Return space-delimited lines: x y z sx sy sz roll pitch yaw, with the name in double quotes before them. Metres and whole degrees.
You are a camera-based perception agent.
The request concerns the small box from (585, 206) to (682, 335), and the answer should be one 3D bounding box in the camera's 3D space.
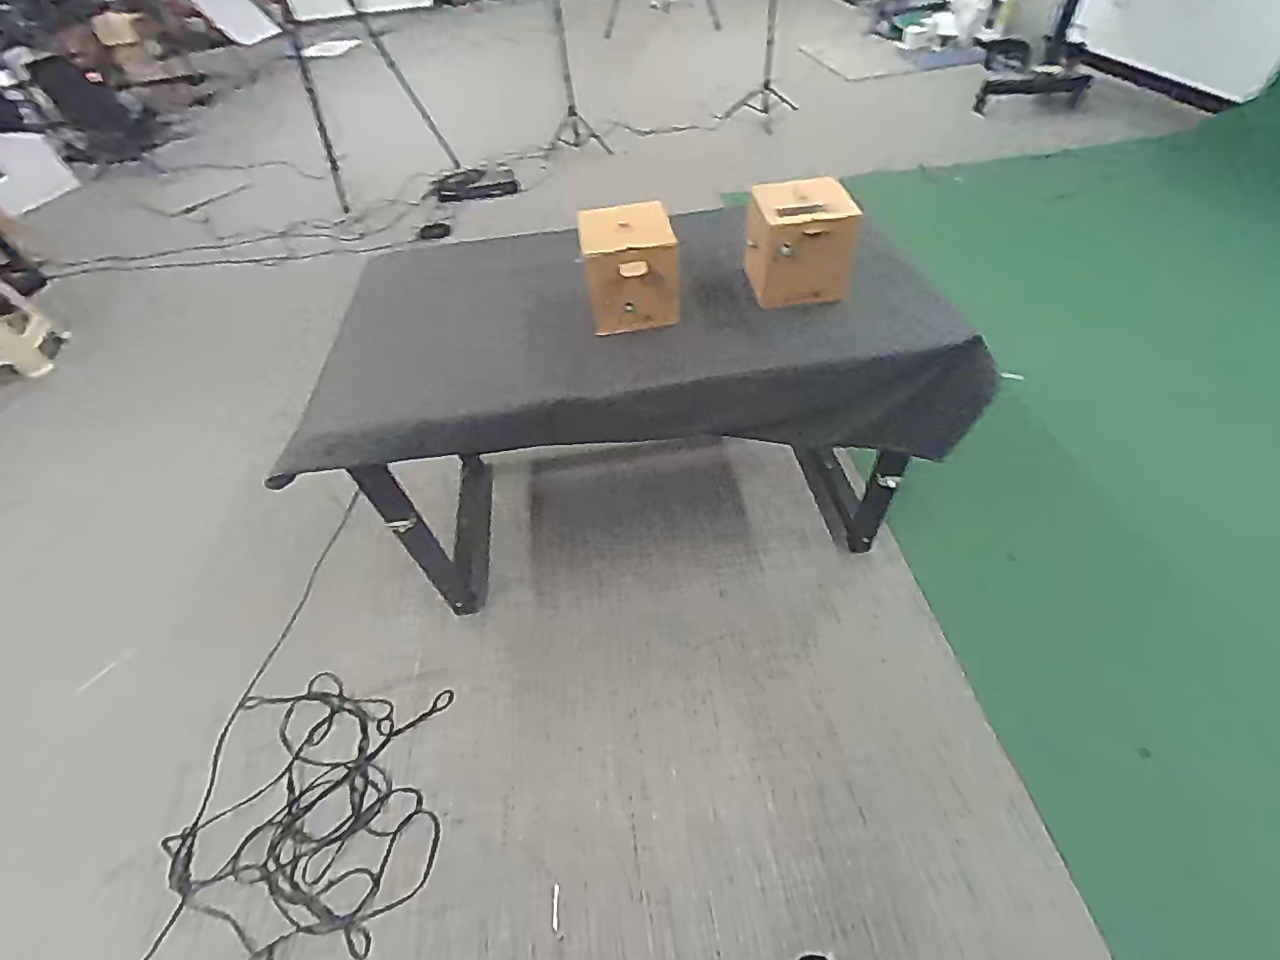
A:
"small box" -0.014 -0.406 1.053 0.168 0.176 0.179 -8 50 -2
